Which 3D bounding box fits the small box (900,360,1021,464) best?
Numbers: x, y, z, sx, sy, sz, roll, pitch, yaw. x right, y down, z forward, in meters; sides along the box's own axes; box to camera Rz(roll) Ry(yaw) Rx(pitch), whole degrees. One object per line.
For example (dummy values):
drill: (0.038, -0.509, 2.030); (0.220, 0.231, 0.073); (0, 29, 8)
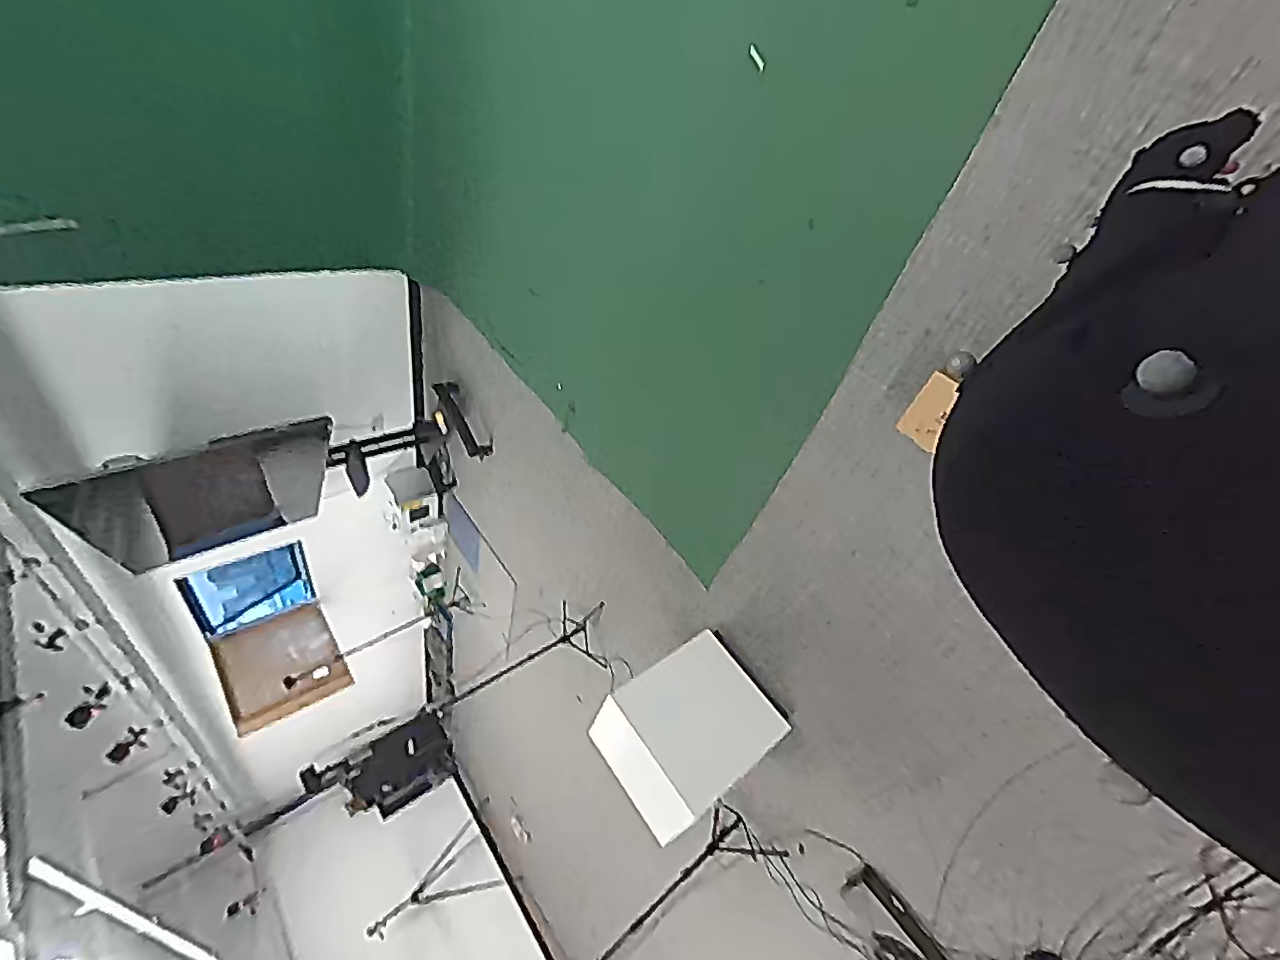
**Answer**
small box: (0.785, -0.172, 1.318); (0.168, 0.176, 0.179); (48, 138, 29)
